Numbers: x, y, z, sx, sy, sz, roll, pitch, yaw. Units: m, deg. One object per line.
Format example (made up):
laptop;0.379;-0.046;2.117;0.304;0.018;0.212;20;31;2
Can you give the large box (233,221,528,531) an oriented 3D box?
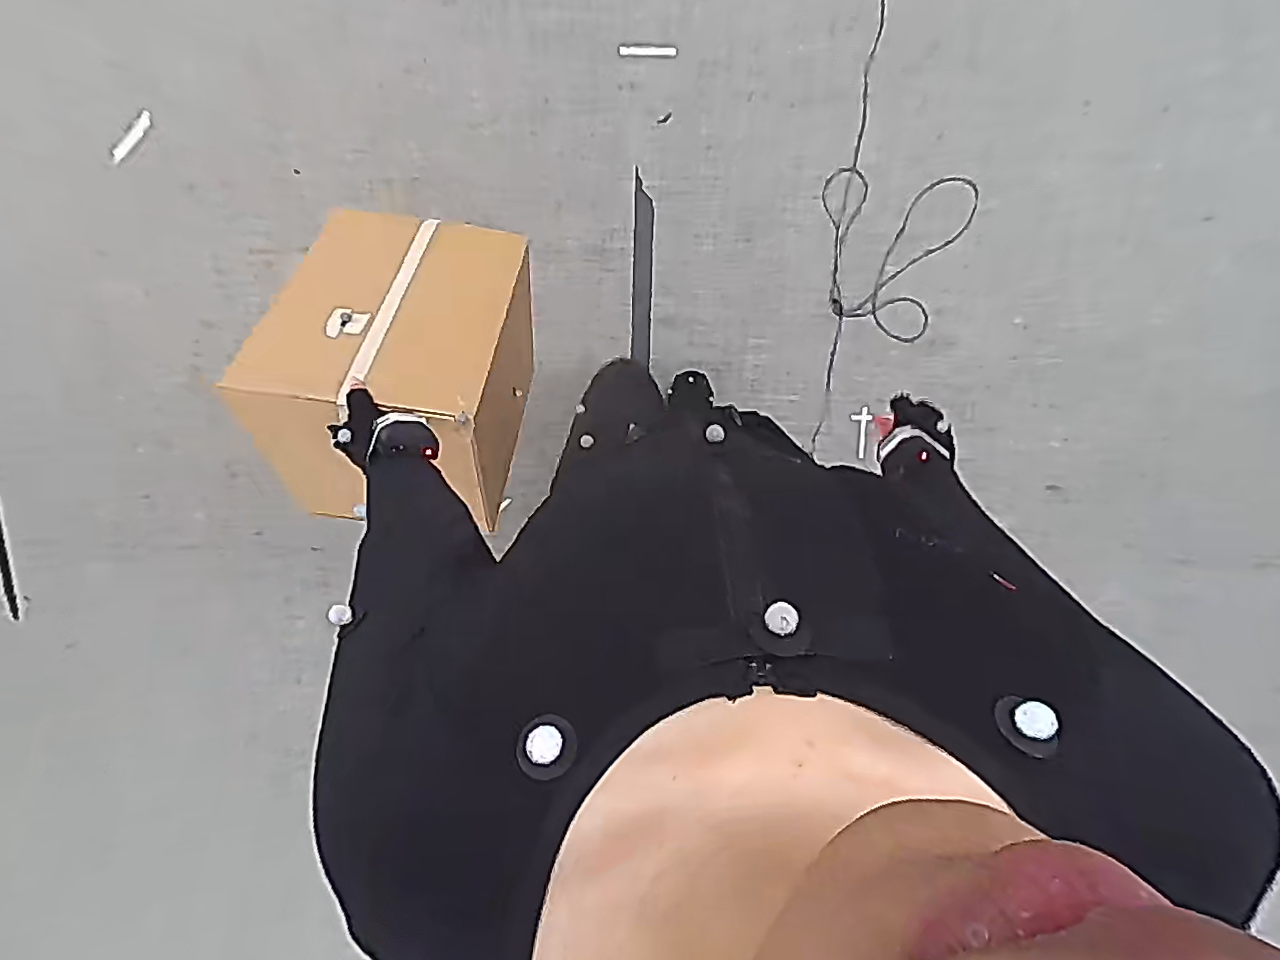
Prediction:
large box;-0.380;-0.172;0.930;0.320;0.320;0.408;7;56;-3
